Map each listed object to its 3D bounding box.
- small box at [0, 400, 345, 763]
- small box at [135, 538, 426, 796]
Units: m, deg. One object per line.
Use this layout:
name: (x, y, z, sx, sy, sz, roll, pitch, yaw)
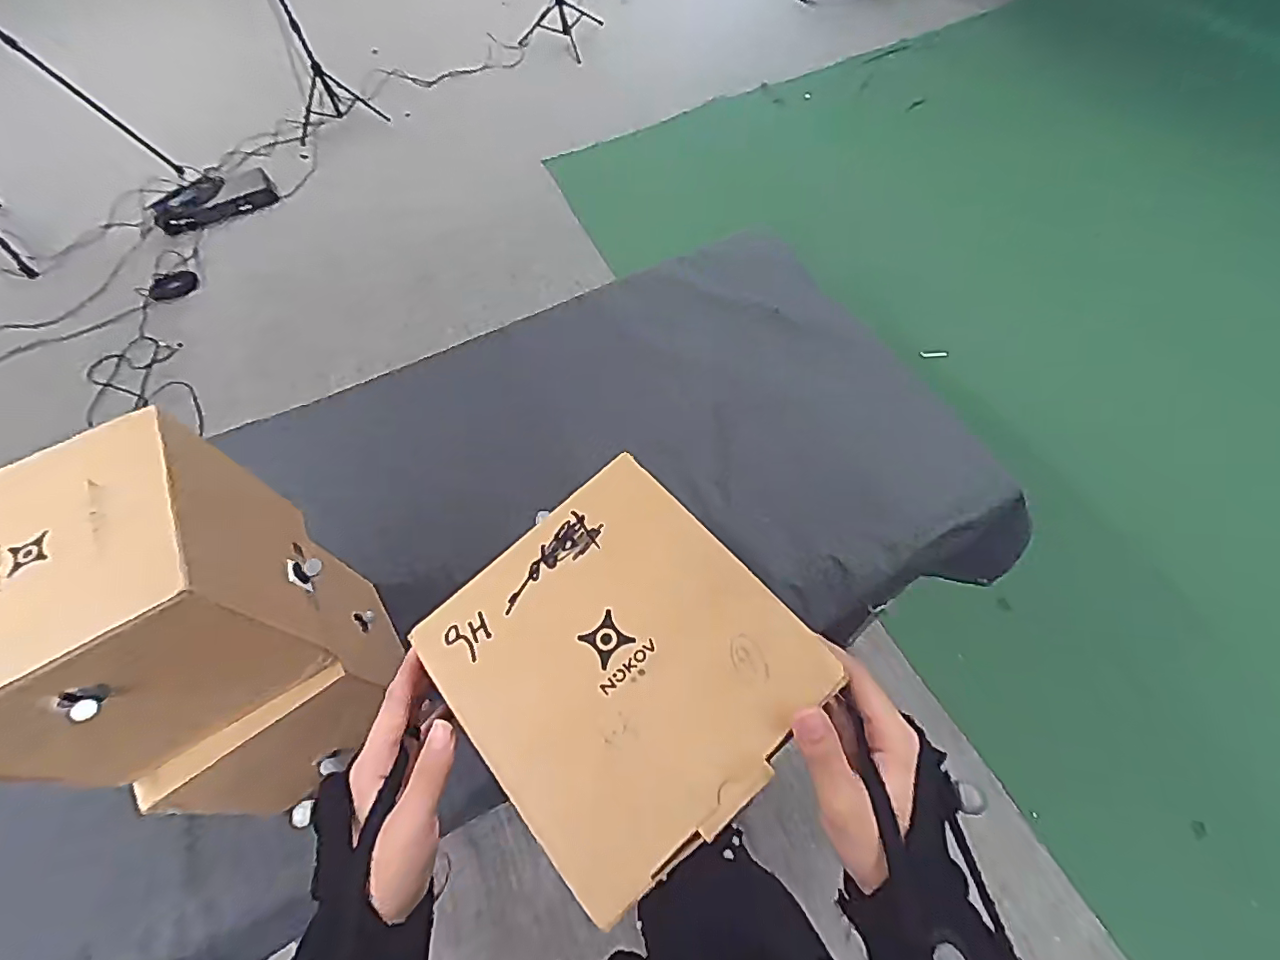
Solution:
small box: (-0.360, 0.082, 0.394, 0.179, 0.176, 0.168, -30, 63, -13)
small box: (-0.343, 0.178, 0.525, 0.168, 0.176, 0.179, -34, 63, -14)
